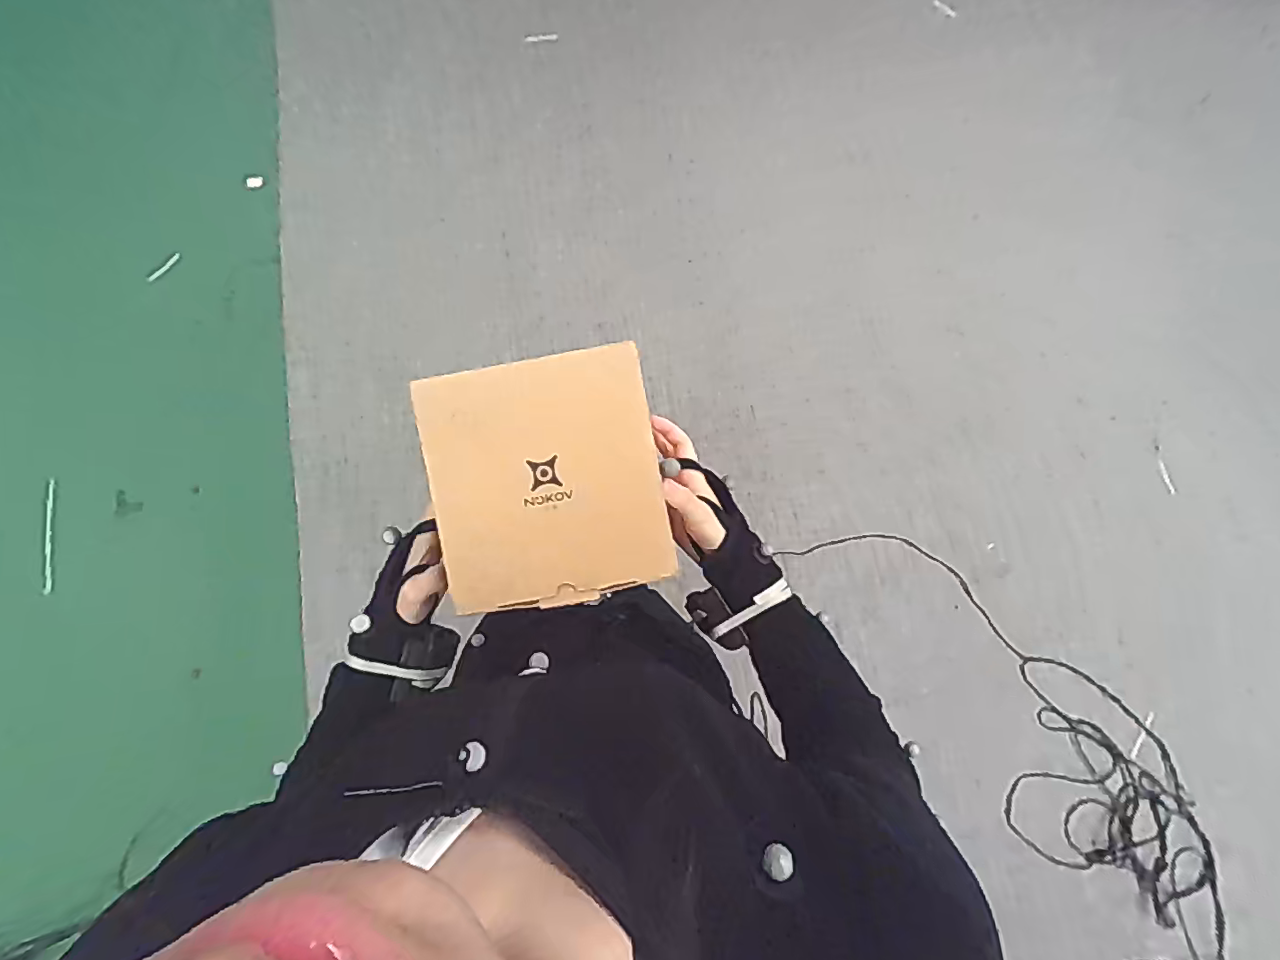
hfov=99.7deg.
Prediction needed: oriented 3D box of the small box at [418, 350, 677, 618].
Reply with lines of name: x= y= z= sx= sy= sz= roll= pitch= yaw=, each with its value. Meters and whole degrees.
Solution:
small box: x=-0.070 y=0.000 z=0.477 sx=0.168 sy=0.176 sz=0.179 roll=-11 pitch=94 yaw=-1
